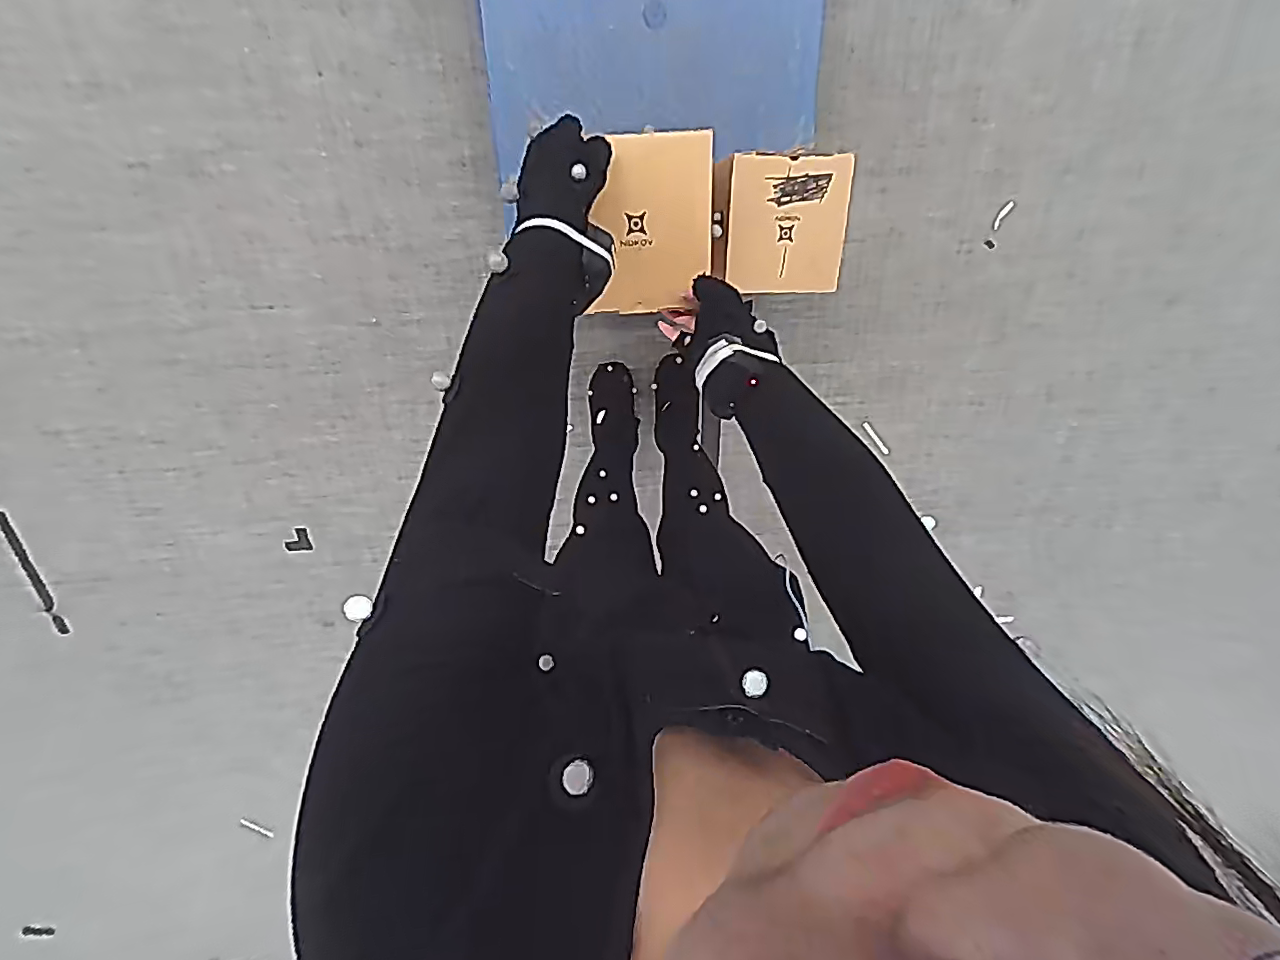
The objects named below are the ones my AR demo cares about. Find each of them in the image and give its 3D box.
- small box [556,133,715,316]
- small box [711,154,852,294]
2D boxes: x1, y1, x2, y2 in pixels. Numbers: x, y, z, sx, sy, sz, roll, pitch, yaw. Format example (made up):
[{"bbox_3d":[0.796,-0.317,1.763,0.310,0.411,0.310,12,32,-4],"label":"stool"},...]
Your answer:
[{"bbox_3d":[-0.007,-0.304,0.654,0.168,0.176,0.179,-3,118,-1],"label":"small box"},{"bbox_3d":[0.196,-0.381,0.817,0.168,0.176,0.179,-2,115,-3],"label":"small box"}]
